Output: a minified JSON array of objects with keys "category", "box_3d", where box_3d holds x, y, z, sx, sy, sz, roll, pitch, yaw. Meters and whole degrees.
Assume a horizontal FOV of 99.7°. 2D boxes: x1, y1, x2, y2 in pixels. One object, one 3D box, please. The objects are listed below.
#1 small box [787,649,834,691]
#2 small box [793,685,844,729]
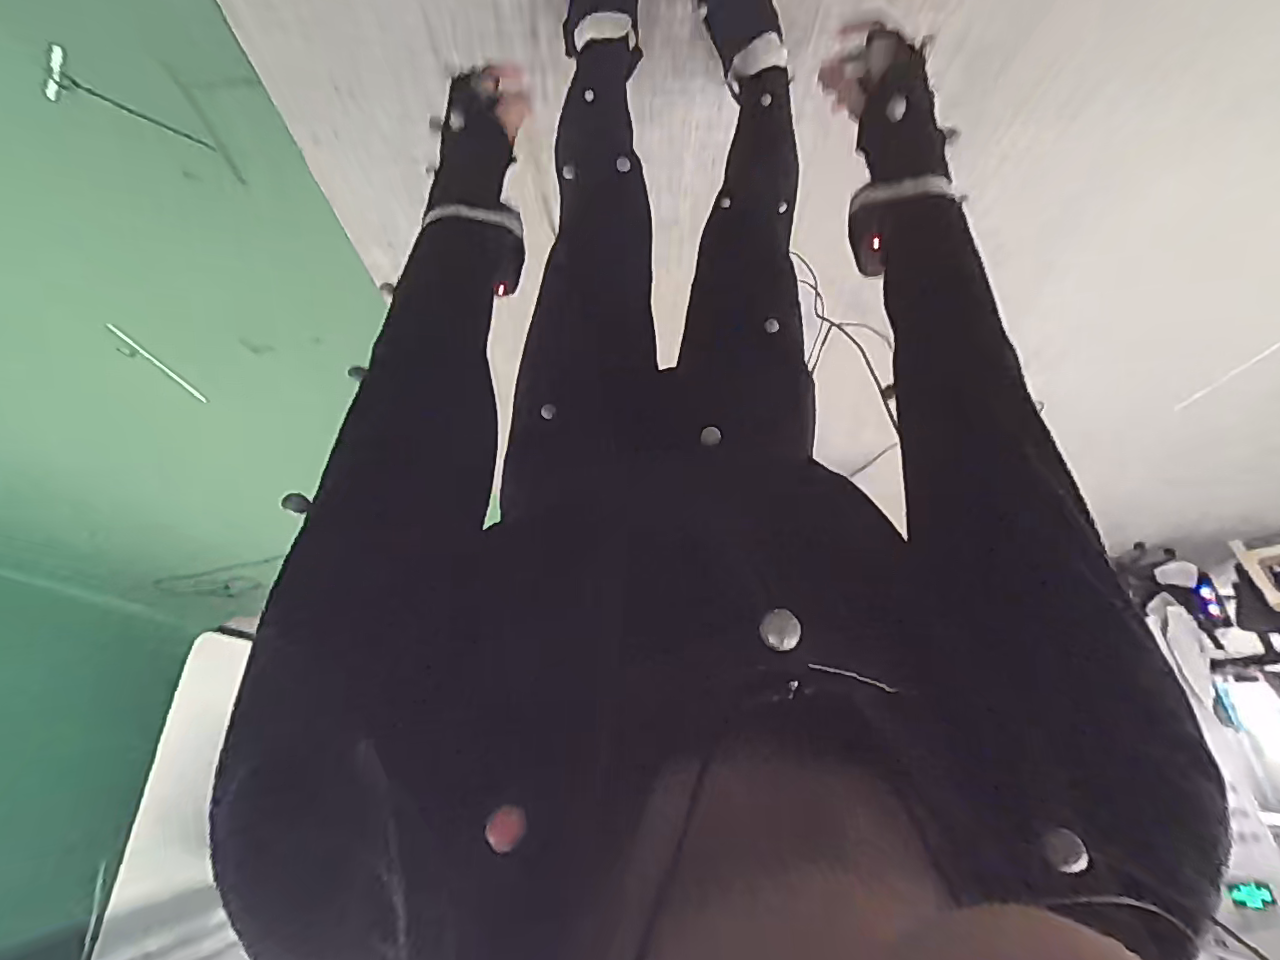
[{"category":"small box","box_3d":[0.776,0.871,2.482,0.168,0.176,0.179,-3,155,5]},{"category":"small box","box_3d":[0.781,1.007,2.388,0.179,0.176,0.168,-4,154,5]}]
